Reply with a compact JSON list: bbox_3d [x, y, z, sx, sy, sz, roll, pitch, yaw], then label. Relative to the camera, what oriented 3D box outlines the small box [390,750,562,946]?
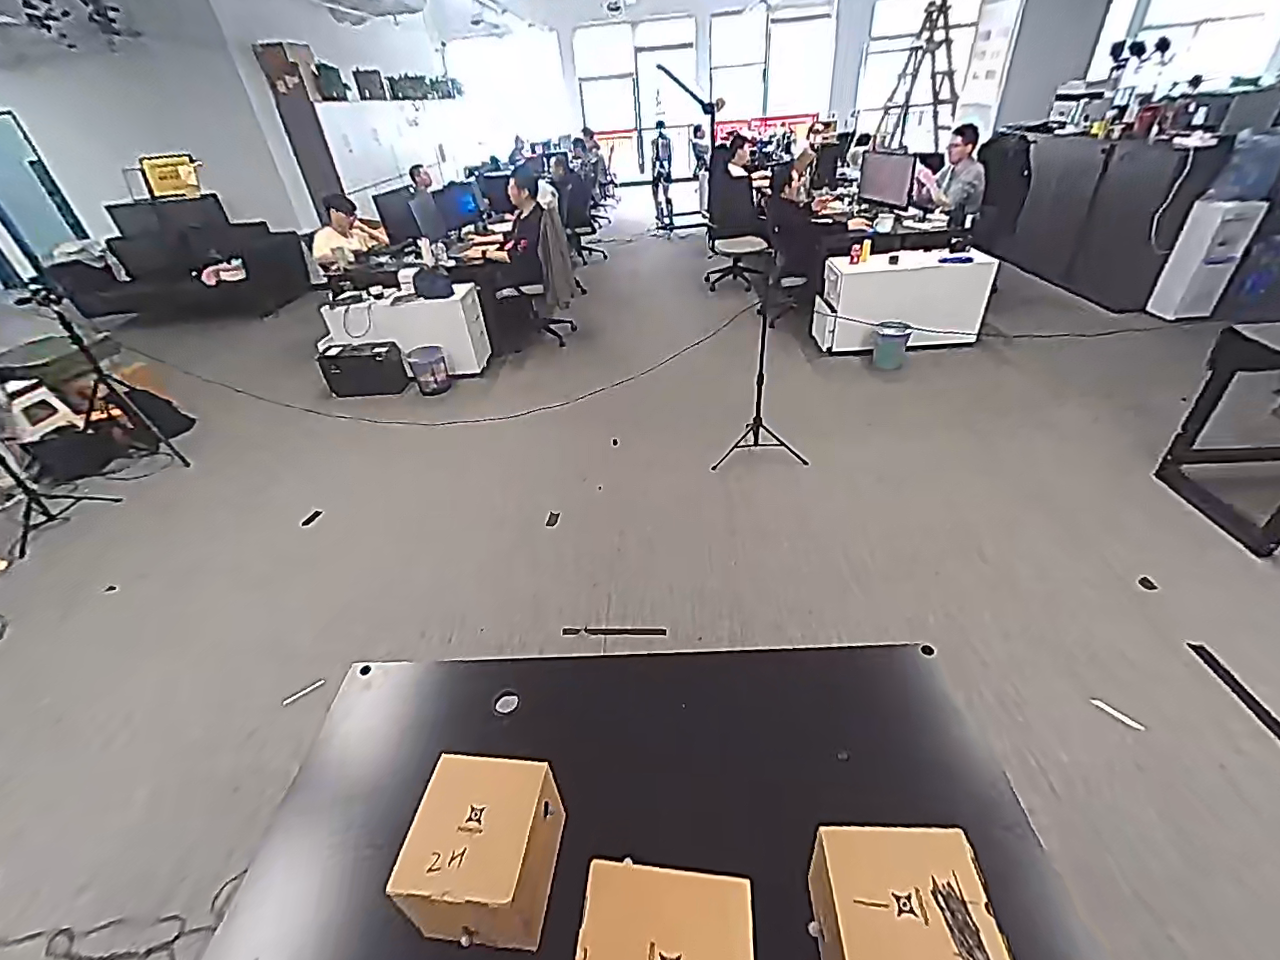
[{"bbox_3d":[-0.215,0.517,0.768,0.168,0.176,0.179,0,36,8],"label":"small box"}]

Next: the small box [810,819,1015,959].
[{"bbox_3d":[0.317,0.541,0.659,0.179,0.176,0.168,-3,35,6],"label":"small box"}]

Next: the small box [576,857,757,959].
[{"bbox_3d":[0.024,0.528,0.564,0.179,0.176,0.168,4,36,4],"label":"small box"}]
